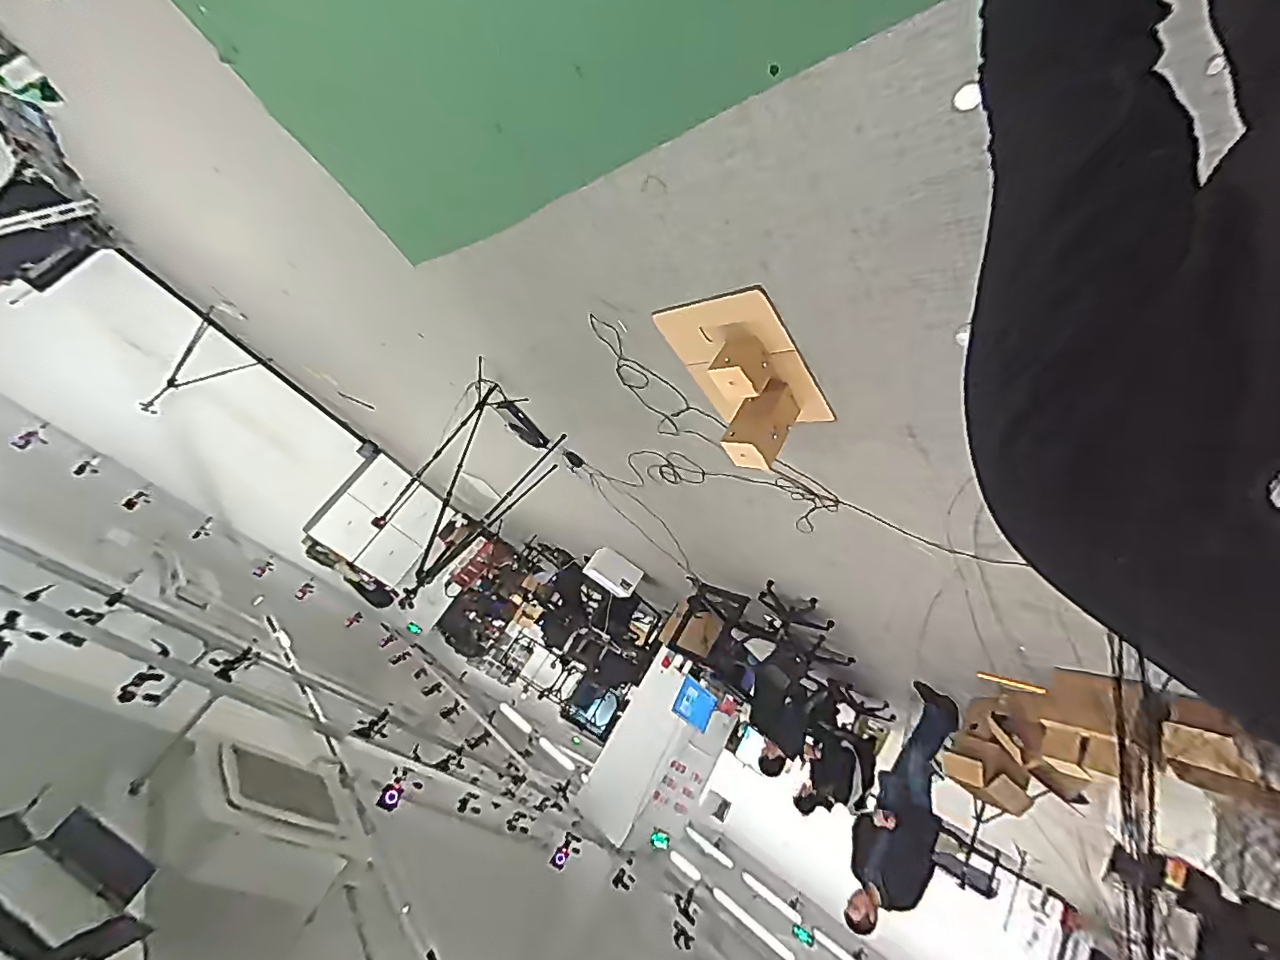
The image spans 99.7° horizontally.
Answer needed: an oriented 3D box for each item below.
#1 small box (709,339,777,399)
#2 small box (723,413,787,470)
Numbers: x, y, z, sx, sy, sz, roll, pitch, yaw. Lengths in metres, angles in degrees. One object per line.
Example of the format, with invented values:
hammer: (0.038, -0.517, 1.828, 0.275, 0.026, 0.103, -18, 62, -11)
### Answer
small box: (0.421, -0.449, 2.191, 0.179, 0.176, 0.168, 4, 144, 51)
small box: (0.482, -0.165, 2.257, 0.179, 0.176, 0.168, 8, 149, 48)
